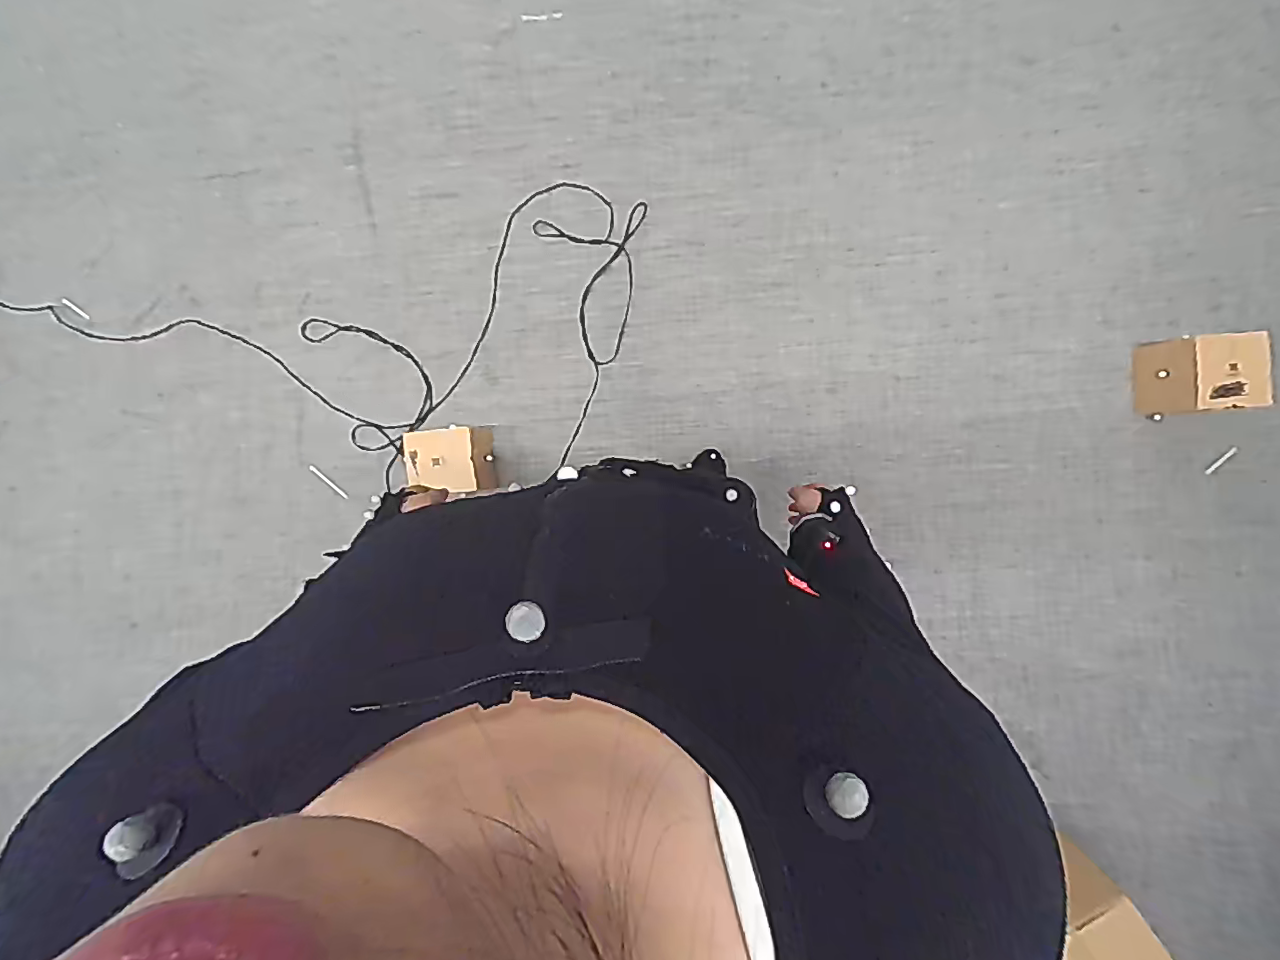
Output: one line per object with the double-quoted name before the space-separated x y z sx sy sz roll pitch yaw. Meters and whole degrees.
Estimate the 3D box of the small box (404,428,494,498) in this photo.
"small box" -0.493 -0.046 1.427 0.179 0.176 0.168 -6 92 2

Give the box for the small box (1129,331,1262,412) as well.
"small box" 1.369 -0.262 1.344 0.168 0.176 0.179 -3 92 3
